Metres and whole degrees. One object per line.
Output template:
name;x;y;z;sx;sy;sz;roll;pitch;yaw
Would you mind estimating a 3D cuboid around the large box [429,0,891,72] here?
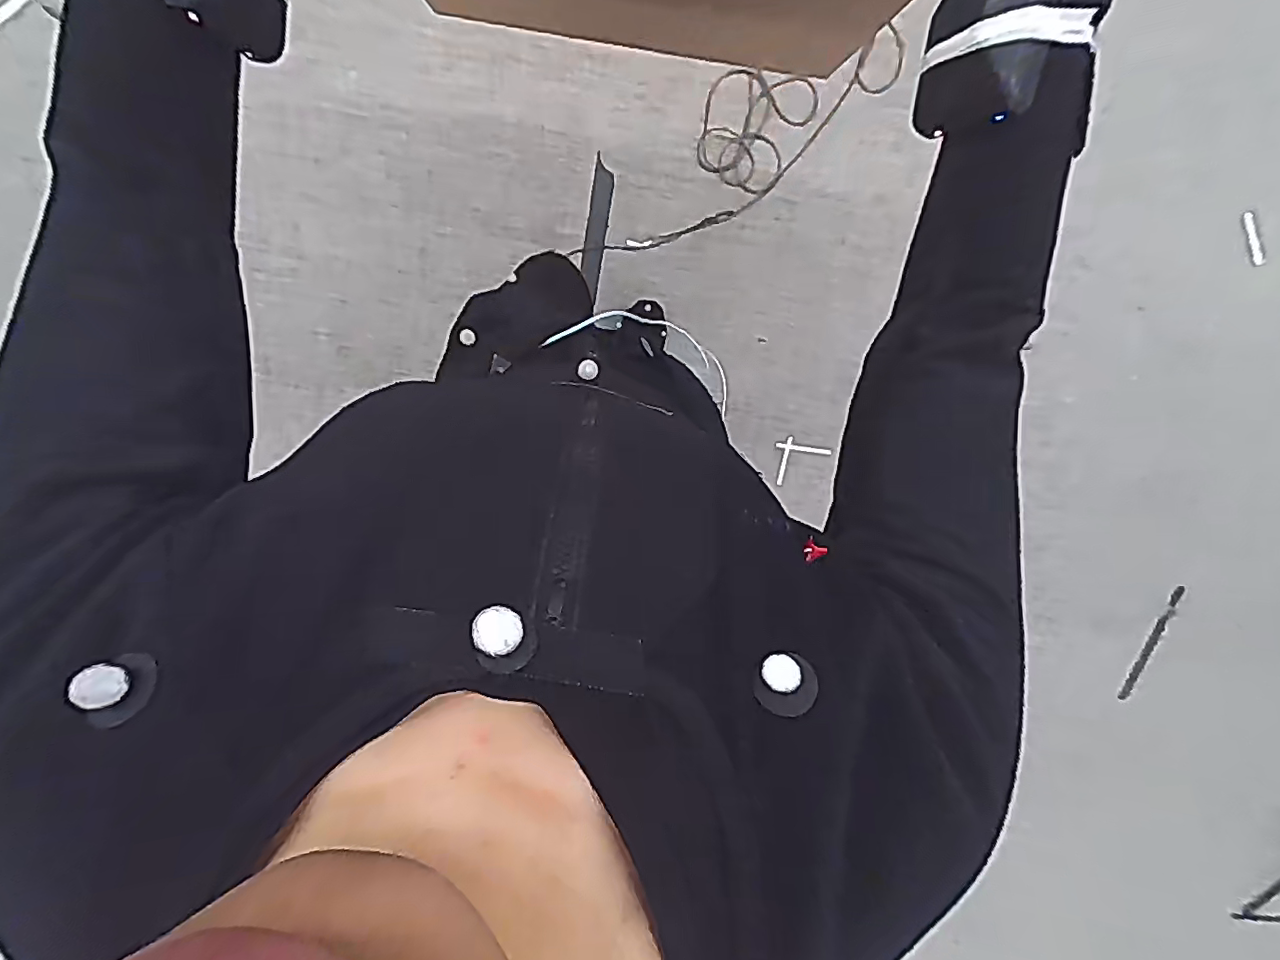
large box;0.014;-0.528;0.361;0.408;0.320;0.320;6;113;-4
